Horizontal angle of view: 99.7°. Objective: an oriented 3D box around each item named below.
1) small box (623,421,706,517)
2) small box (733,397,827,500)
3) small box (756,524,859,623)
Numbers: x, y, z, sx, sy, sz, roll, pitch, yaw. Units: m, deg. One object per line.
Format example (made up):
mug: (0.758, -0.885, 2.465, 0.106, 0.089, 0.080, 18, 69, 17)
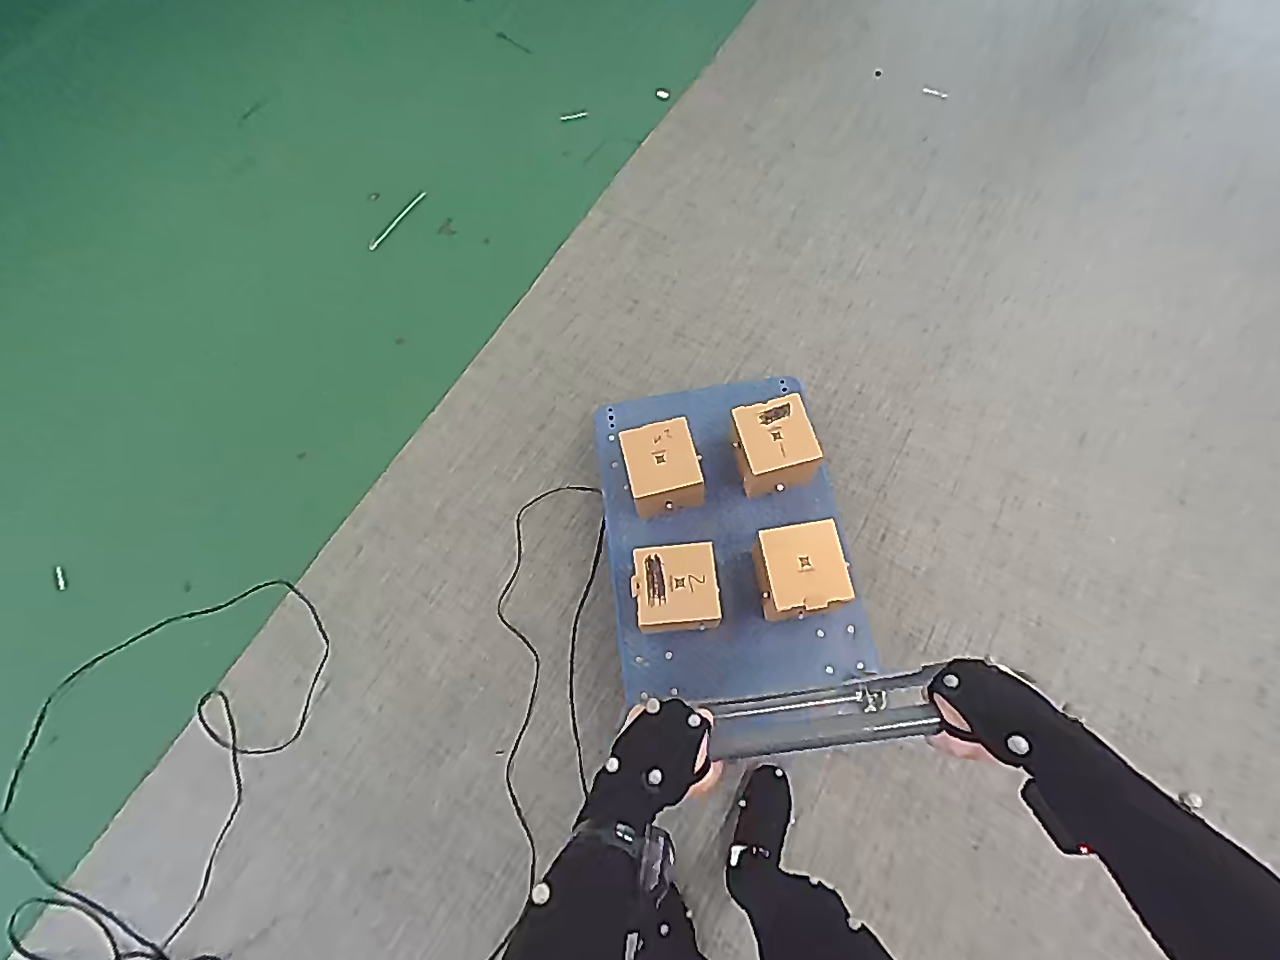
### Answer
small box: (0.062, -0.018, 1.324, 0.168, 0.176, 0.179, -13, 68, -1)
small box: (0.331, -0.072, 1.319, 0.168, 0.176, 0.179, -14, 69, 1)
small box: (0.363, 0.213, 1.208, 0.168, 0.176, 0.179, -9, 69, 2)
